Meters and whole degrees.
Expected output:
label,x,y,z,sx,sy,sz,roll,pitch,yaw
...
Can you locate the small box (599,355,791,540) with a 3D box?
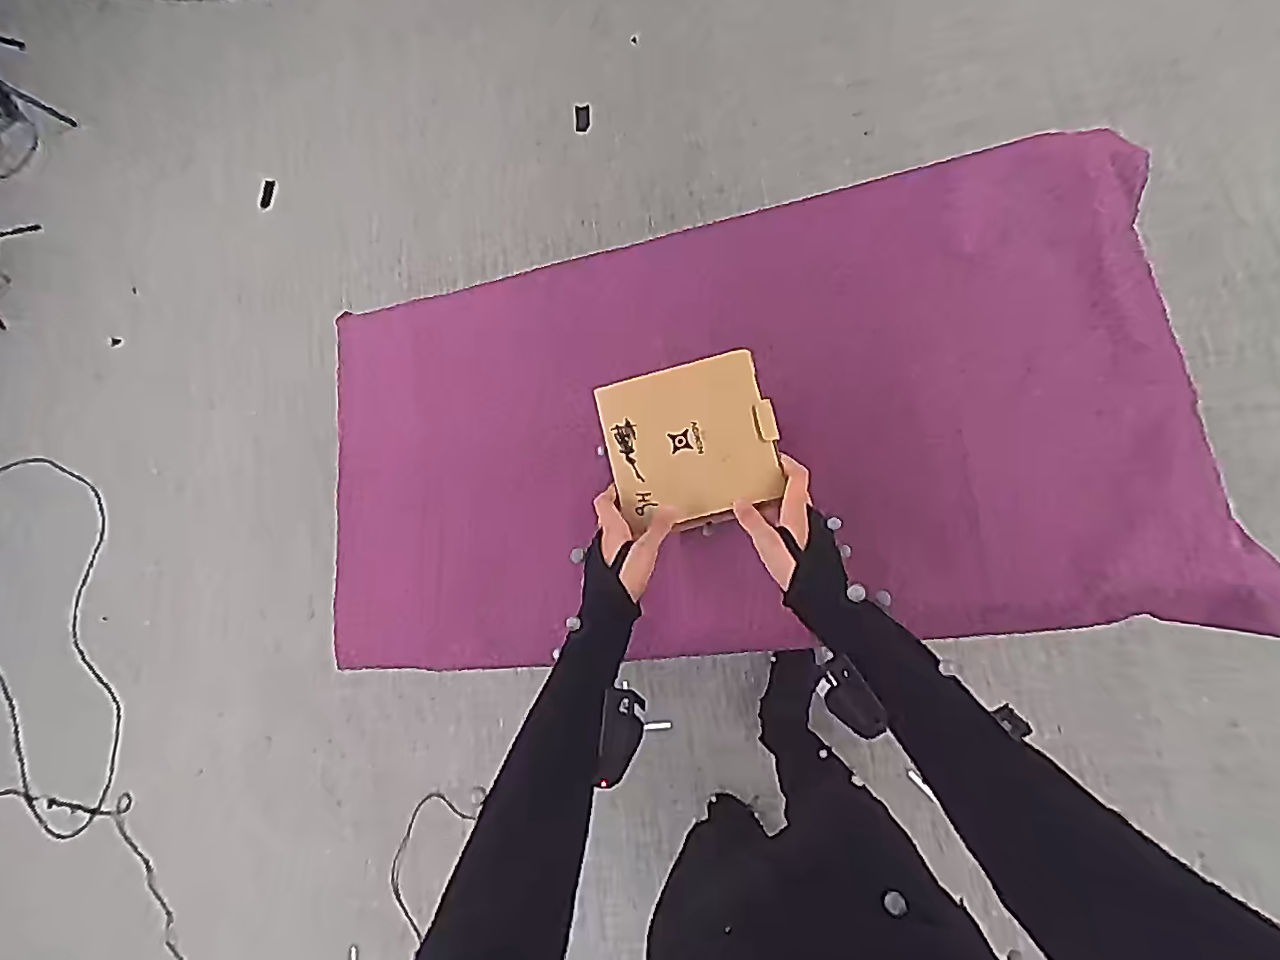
label,x,y,z,sx,sy,sz,roll,pitch,yaw
small box,0.062,-0.027,0.648,0.179,0.176,0.168,-14,80,4
